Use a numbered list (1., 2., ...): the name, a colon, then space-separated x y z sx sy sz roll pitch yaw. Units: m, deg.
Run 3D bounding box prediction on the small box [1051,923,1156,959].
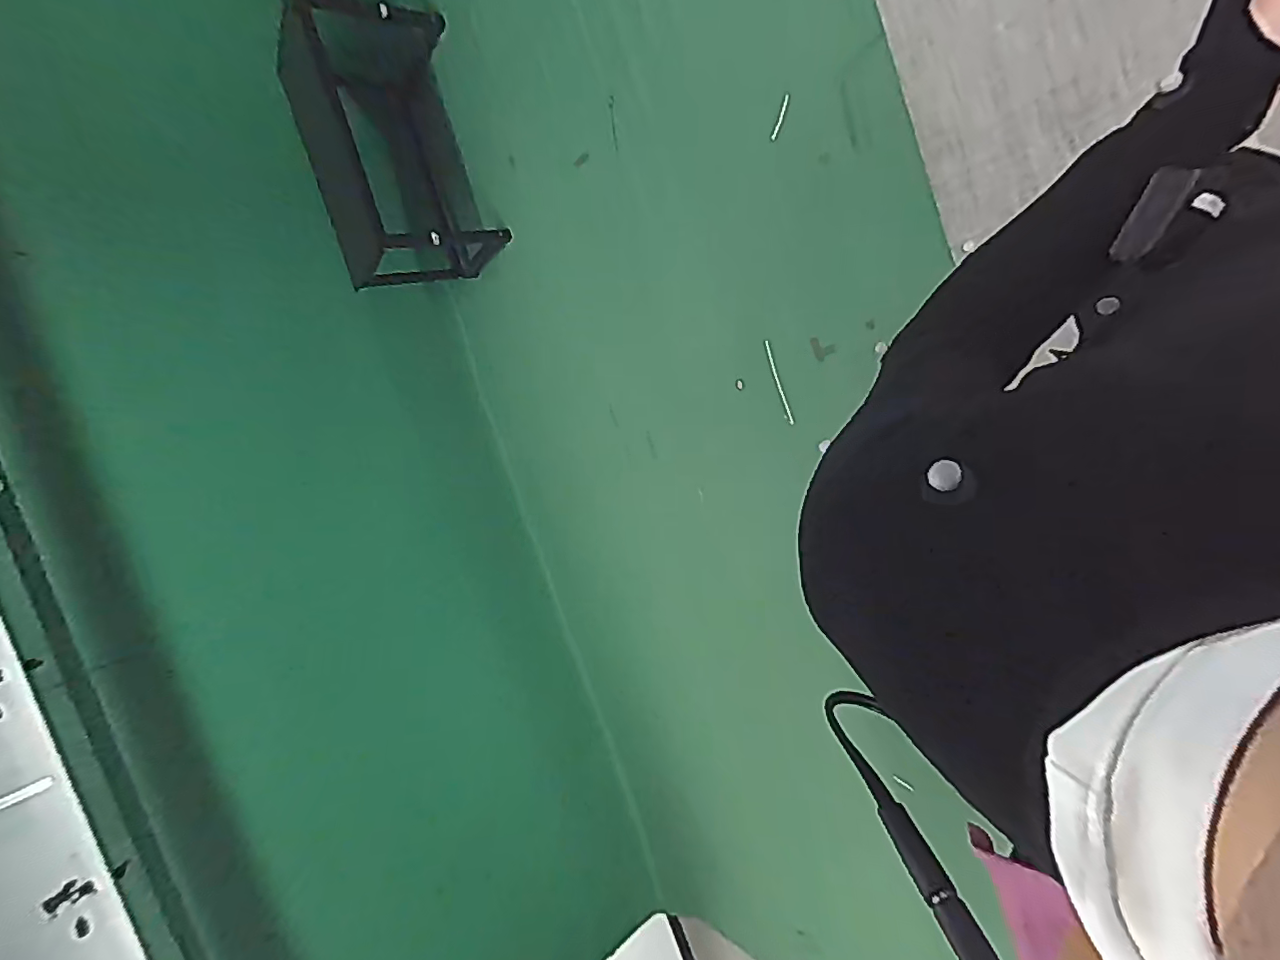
1. small box: 0.767 0.874 0.853 0.168 0.176 0.179 -13 97 52
